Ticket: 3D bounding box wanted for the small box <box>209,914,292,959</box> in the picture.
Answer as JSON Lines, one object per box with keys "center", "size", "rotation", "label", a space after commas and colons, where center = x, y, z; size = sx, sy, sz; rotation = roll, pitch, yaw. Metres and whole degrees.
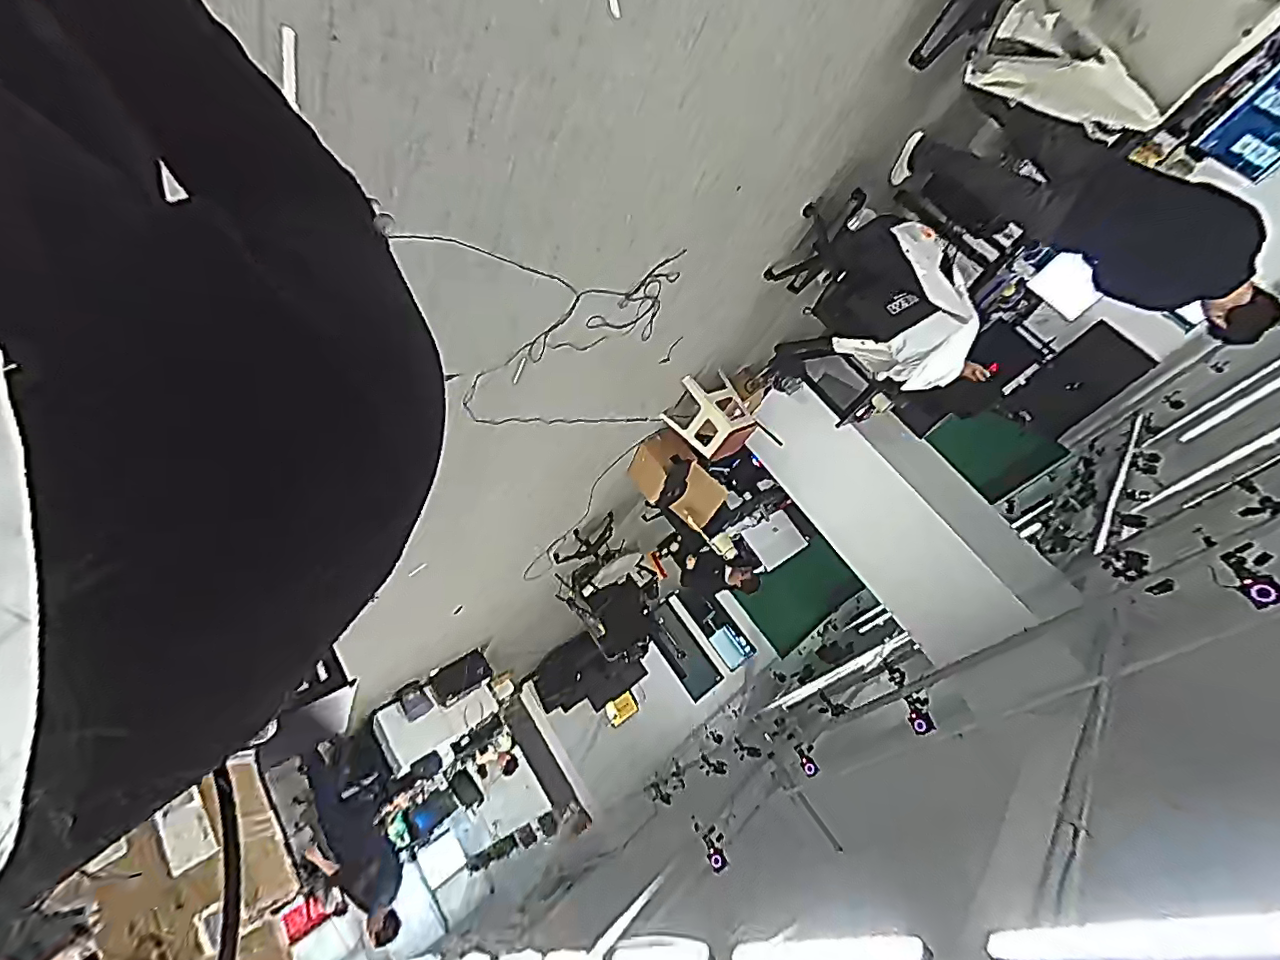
{"center": [-1.211, 1.501, 1.691], "size": [0.168, 0.176, 0.179], "rotation": [-22, 159, -36], "label": "small box"}
